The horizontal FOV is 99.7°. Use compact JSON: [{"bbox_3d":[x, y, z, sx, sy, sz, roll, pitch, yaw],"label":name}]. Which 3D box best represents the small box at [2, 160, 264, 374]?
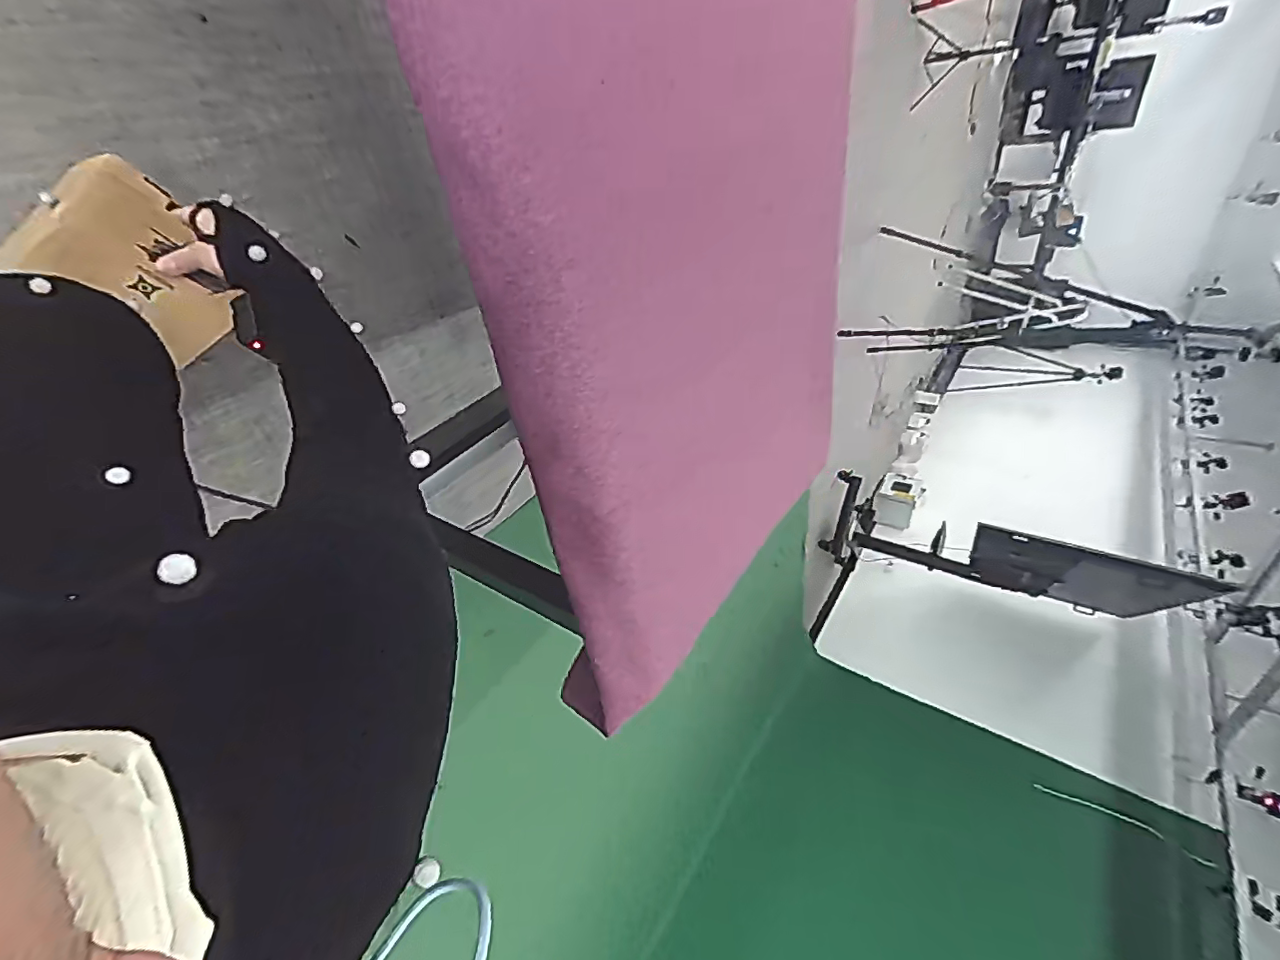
[{"bbox_3d":[-0.627,-0.258,0.672,0.168,0.176,0.179,43,68,-52],"label":"small box"}]
